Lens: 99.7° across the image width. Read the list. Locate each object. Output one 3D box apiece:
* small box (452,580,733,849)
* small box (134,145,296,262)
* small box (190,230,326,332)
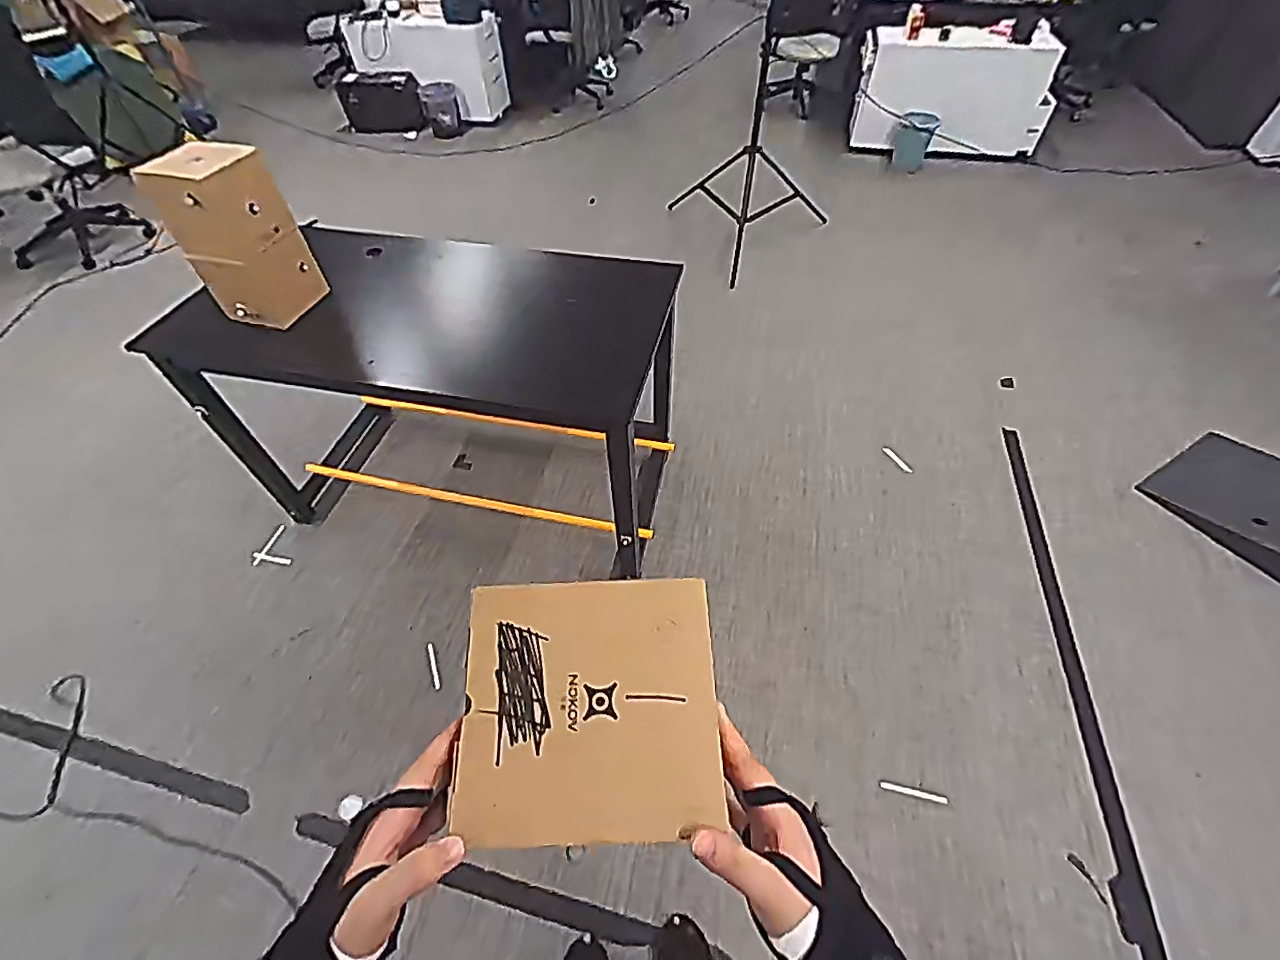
[{"bbox_3d":[-0.030,0.187,0.435,0.179,0.176,0.168,-3,63,-1],"label":"small box"},{"bbox_3d":[-0.894,-0.590,1.160,0.179,0.176,0.168,11,51,12],"label":"small box"},{"bbox_3d":[-0.887,-0.479,1.283,0.168,0.176,0.179,11,53,12],"label":"small box"}]
